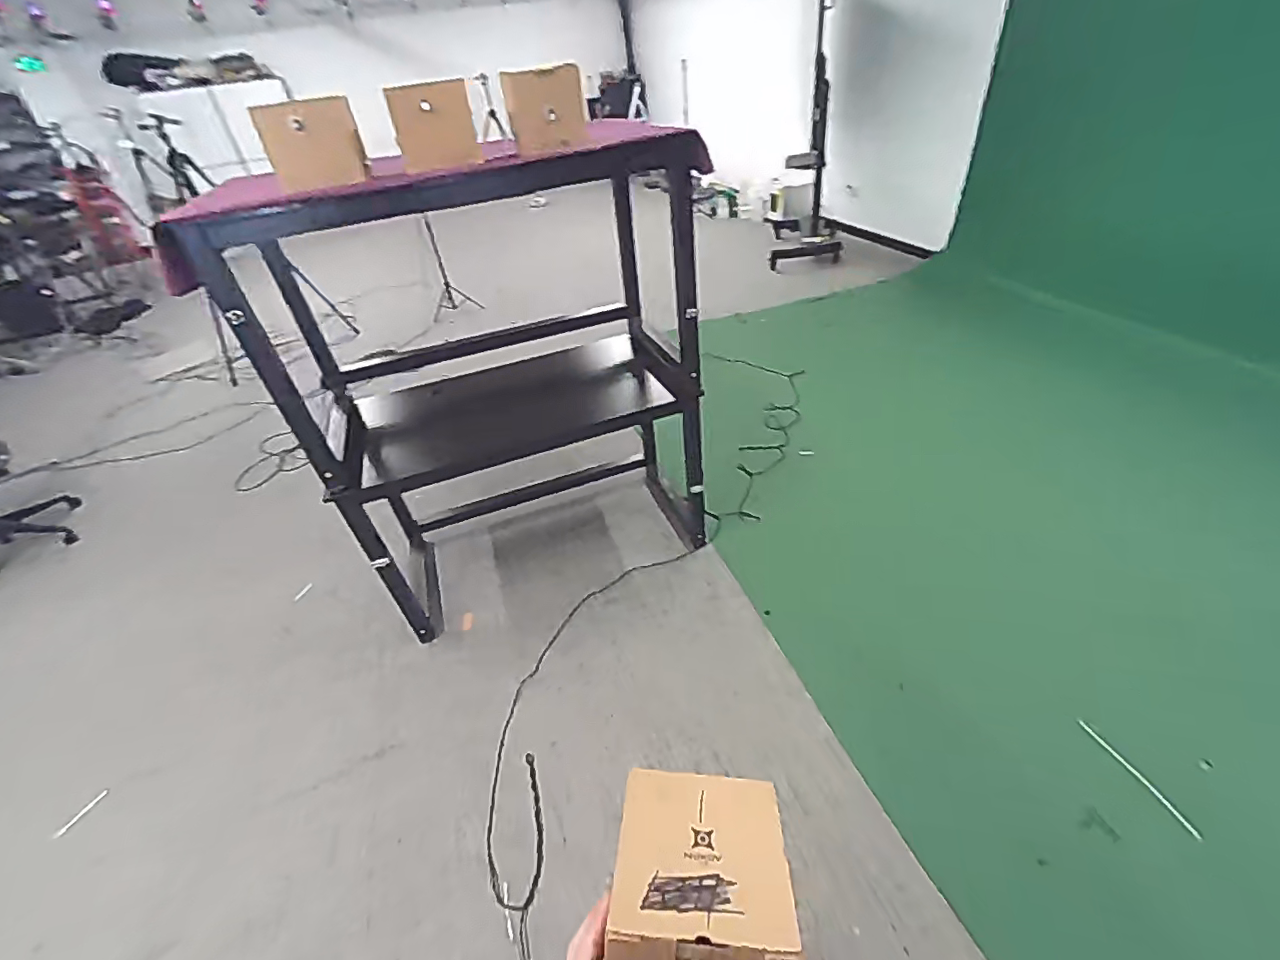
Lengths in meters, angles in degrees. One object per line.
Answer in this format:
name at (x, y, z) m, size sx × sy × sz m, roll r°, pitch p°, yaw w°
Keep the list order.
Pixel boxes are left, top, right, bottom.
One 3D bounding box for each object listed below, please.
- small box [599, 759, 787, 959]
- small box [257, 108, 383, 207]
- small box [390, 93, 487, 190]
small box at (0.053, 0.431, 0.565) m, size 0.168 × 0.176 × 0.179 m, roll 2°, pitch 17°, yaw 4°
small box at (-0.711, -0.730, 1.224) m, size 0.179 × 0.176 × 0.168 m, roll -14°, pitch 37°, yaw -9°
small box at (-0.470, -0.802, 1.280) m, size 0.179 × 0.176 × 0.168 m, roll -18°, pitch 37°, yaw -12°
